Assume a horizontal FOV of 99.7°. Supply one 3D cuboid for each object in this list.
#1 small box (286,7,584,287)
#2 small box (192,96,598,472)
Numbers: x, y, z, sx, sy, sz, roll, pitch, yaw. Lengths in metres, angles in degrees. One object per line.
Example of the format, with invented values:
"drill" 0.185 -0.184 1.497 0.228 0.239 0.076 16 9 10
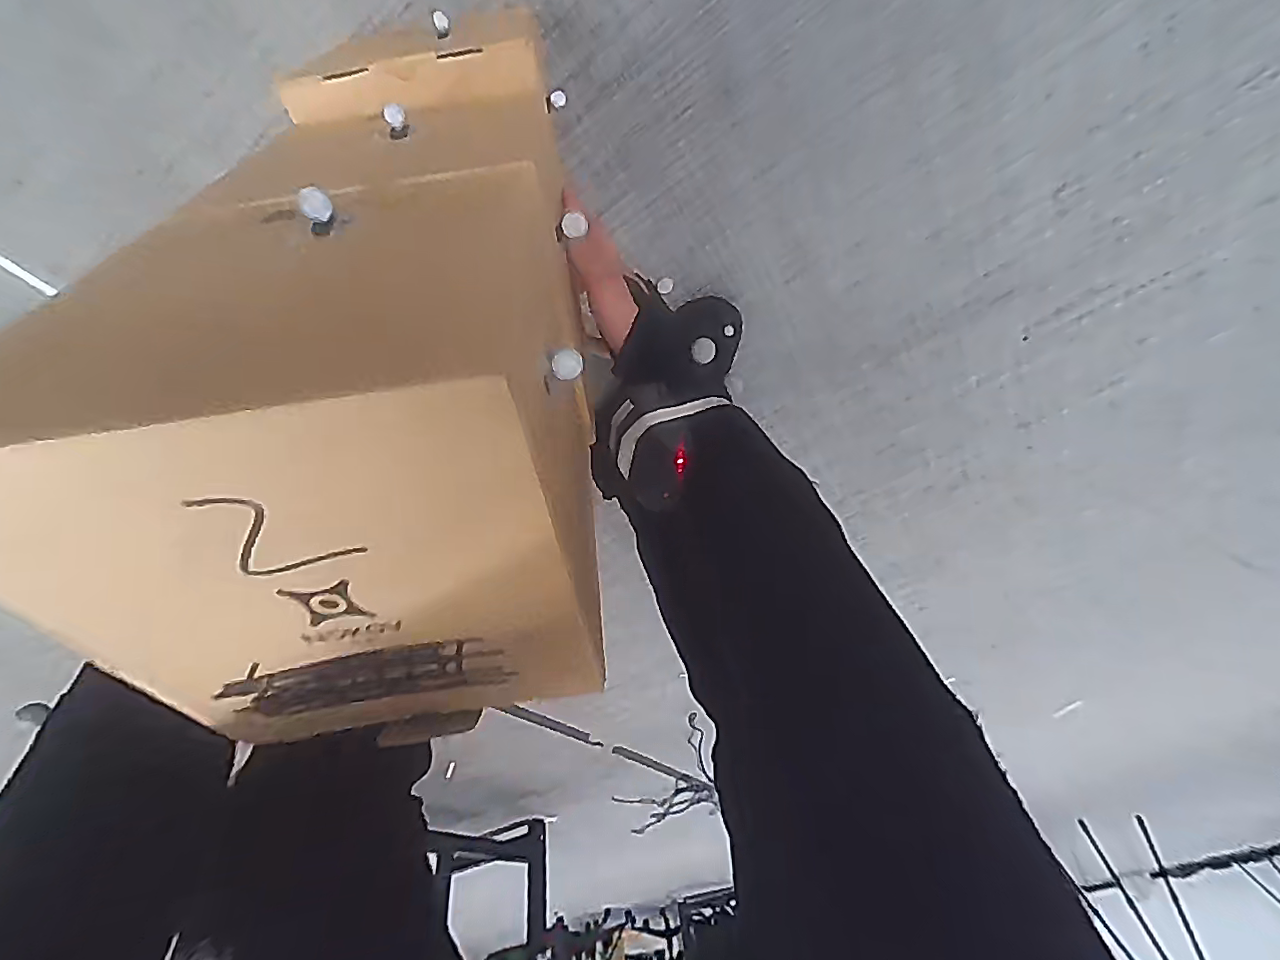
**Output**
"small box" -0.143 -0.266 0.456 0.168 0.176 0.179 -10 136 0
"small box" -0.124 -0.133 0.357 0.168 0.176 0.179 -8 136 -1
